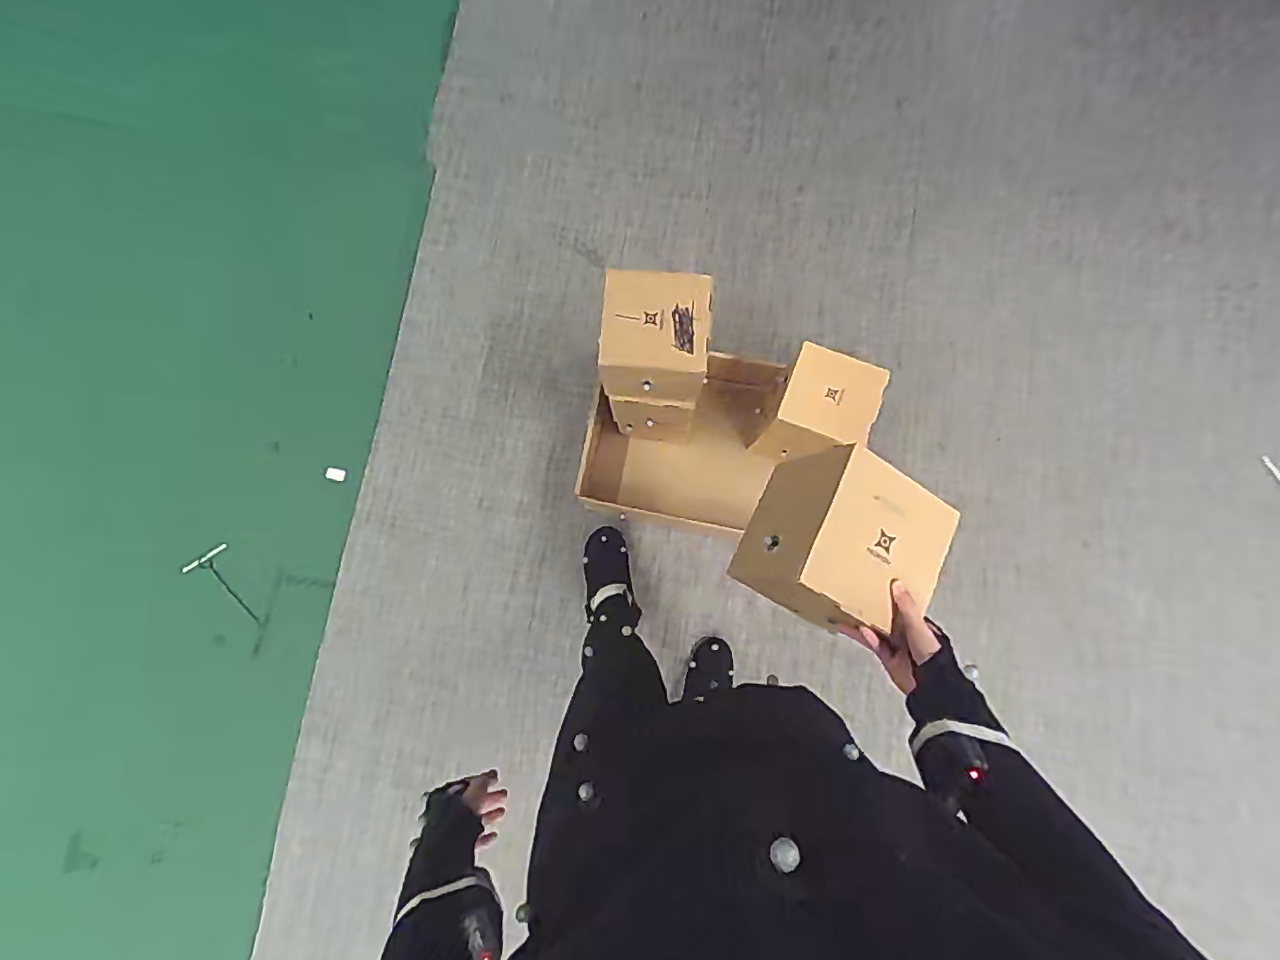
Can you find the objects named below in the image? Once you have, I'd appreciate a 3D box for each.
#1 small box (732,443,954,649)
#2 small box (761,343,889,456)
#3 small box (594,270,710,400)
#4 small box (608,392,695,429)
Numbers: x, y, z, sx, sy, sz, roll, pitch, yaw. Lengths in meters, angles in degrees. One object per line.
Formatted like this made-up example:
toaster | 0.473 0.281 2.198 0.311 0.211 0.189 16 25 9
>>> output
small box | 0.238 0.082 0.674 0.168 0.176 0.179 32 75 -11
small box | 0.363 -0.147 1.095 0.179 0.176 0.168 22 84 4
small box | 0.023 -0.244 0.946 0.179 0.176 0.168 5 82 3
small box | 0.033 -0.216 1.108 0.168 0.176 0.179 8 83 3
